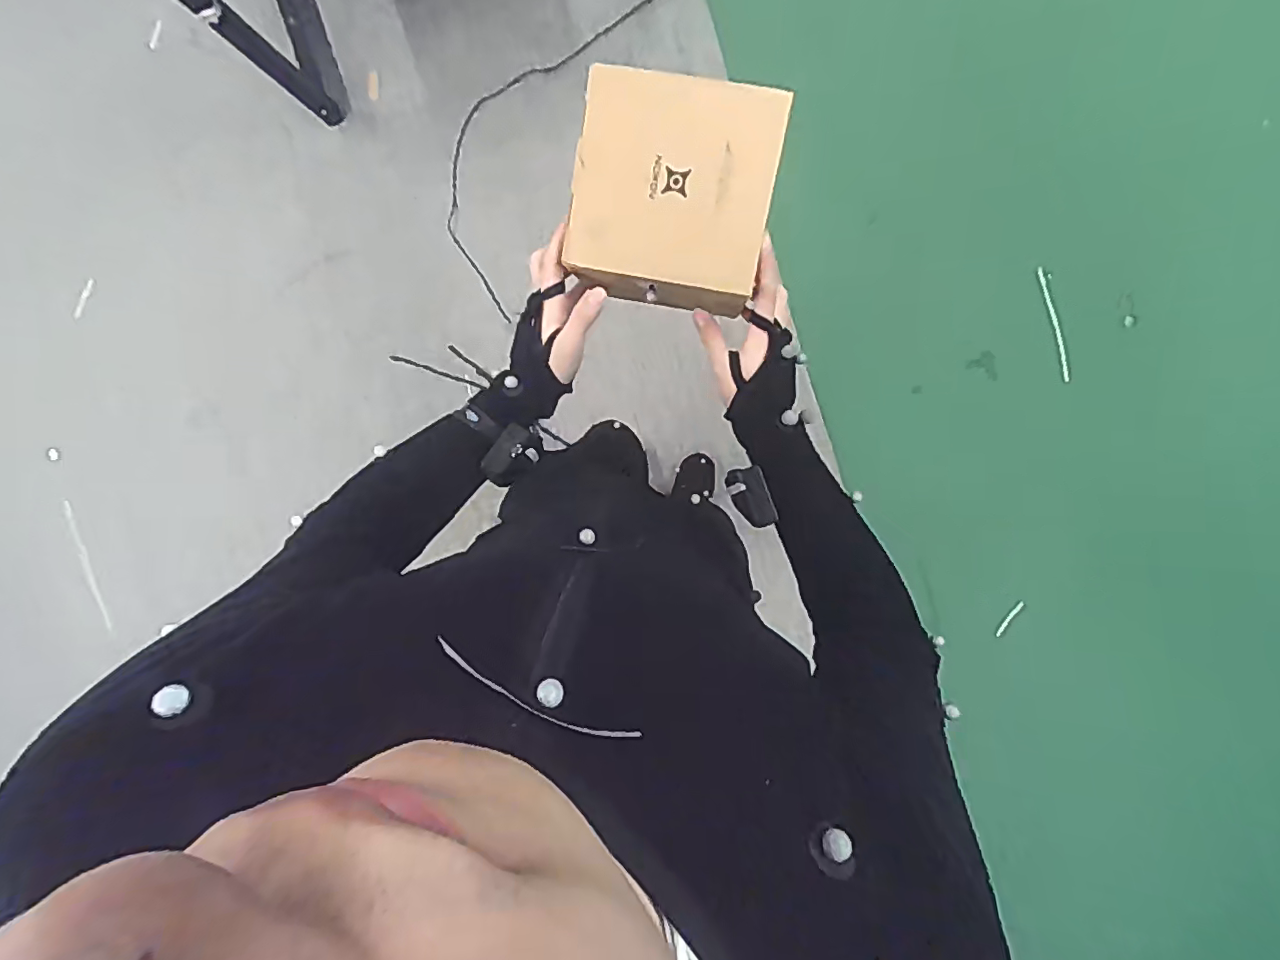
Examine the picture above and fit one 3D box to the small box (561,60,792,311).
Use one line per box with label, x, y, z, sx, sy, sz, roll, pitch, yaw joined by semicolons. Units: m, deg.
small box;0.037;-0.275;0.545;0.179;0.176;0.168;11;101;5
